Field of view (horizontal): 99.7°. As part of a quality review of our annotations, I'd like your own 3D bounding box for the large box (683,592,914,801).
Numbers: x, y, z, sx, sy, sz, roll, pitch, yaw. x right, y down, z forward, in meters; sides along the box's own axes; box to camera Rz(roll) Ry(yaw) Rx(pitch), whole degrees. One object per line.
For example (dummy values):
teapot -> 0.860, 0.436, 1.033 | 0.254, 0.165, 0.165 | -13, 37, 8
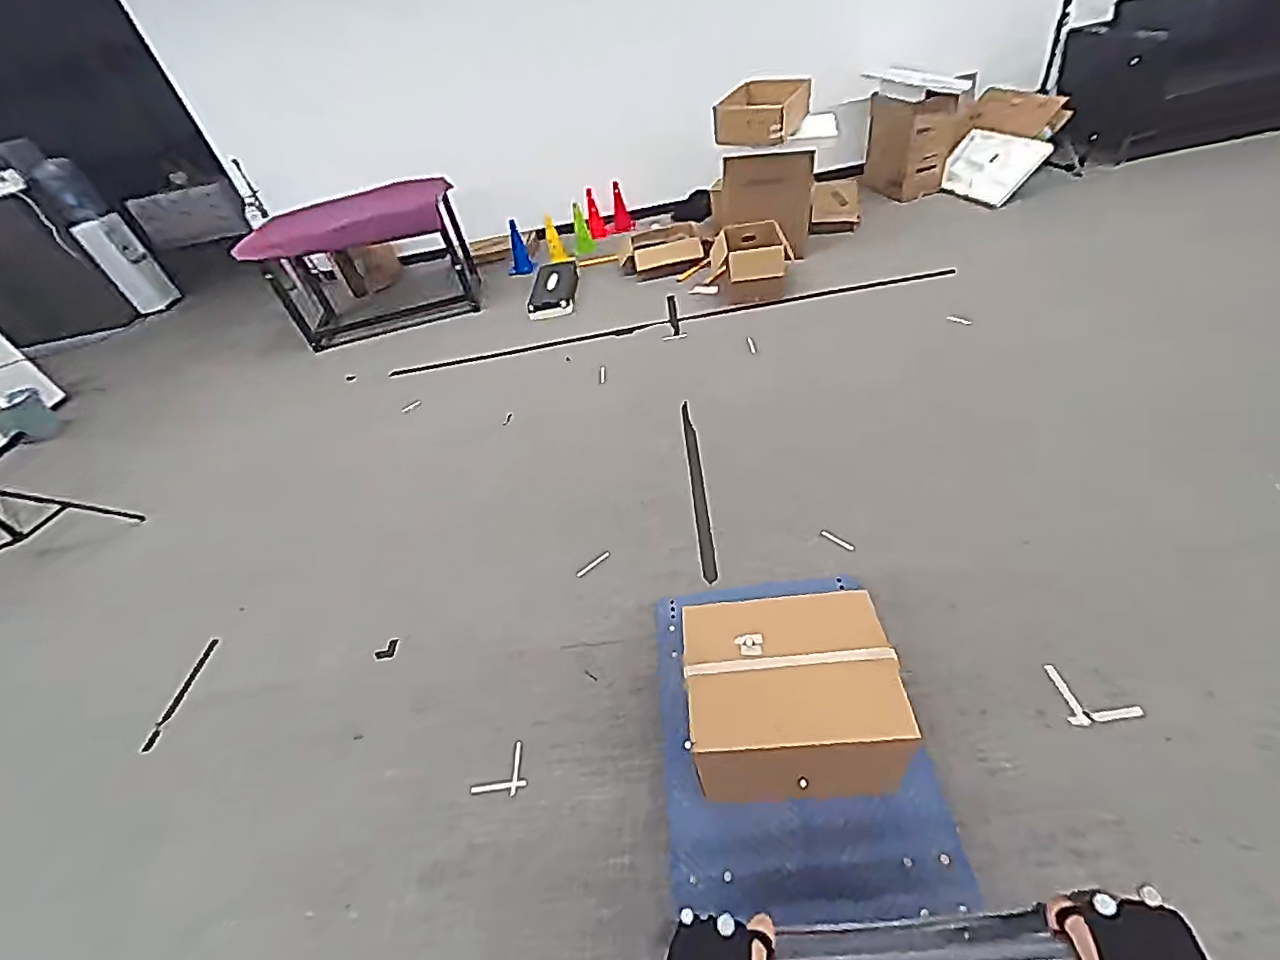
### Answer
large box -> 0.321, 0.481, 1.189 | 0.408, 0.320, 0.320 | -8, 42, 7
